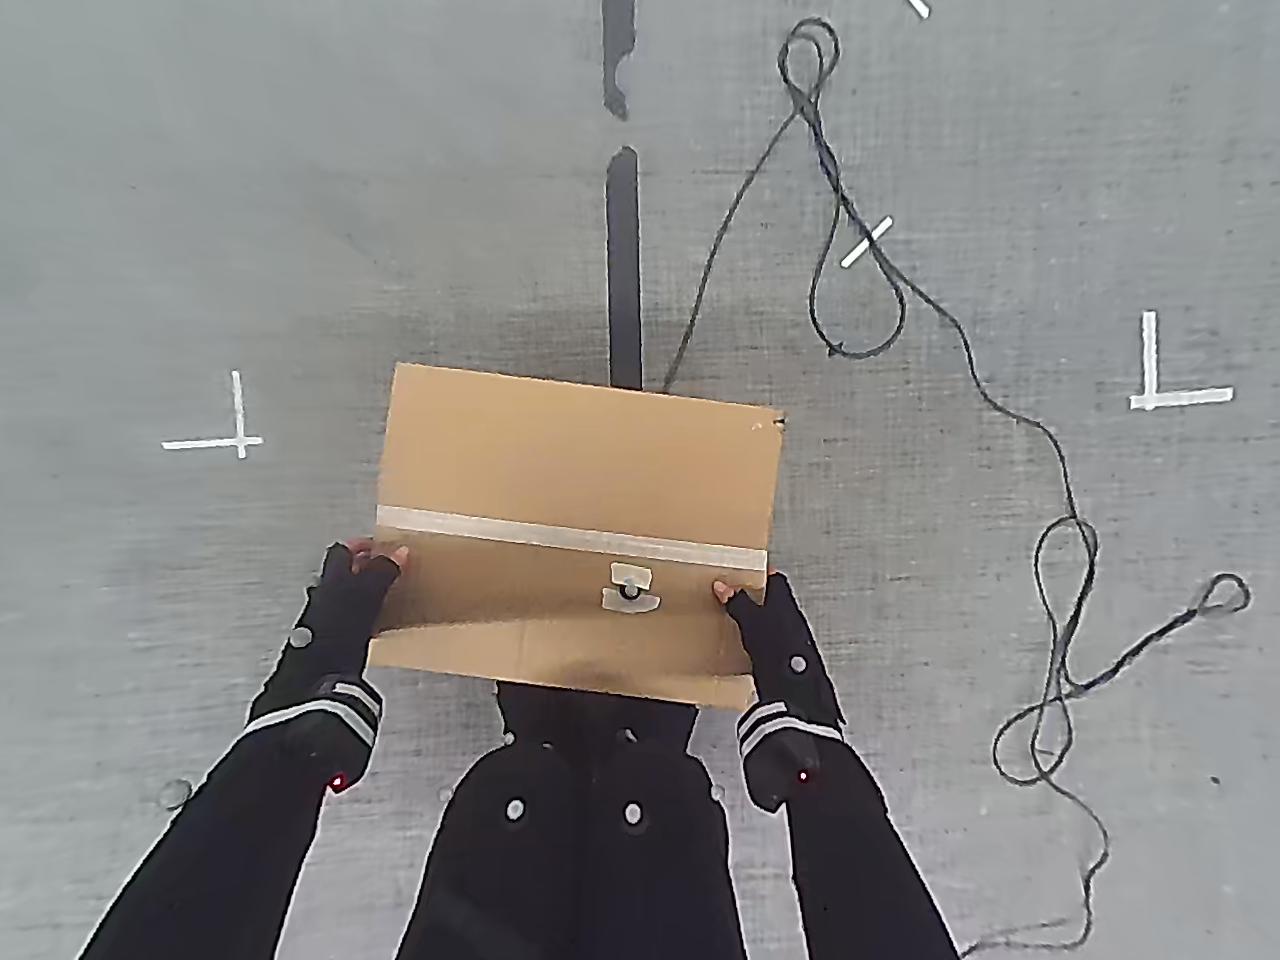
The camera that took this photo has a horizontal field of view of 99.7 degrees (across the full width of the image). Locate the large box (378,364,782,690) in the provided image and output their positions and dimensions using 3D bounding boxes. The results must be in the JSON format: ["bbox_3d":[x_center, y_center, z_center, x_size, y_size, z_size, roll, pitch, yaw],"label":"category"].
[{"bbox_3d":[-0.064,0.053,0.716,0.408,0.320,0.320,7,89,0],"label":"large box"}]
